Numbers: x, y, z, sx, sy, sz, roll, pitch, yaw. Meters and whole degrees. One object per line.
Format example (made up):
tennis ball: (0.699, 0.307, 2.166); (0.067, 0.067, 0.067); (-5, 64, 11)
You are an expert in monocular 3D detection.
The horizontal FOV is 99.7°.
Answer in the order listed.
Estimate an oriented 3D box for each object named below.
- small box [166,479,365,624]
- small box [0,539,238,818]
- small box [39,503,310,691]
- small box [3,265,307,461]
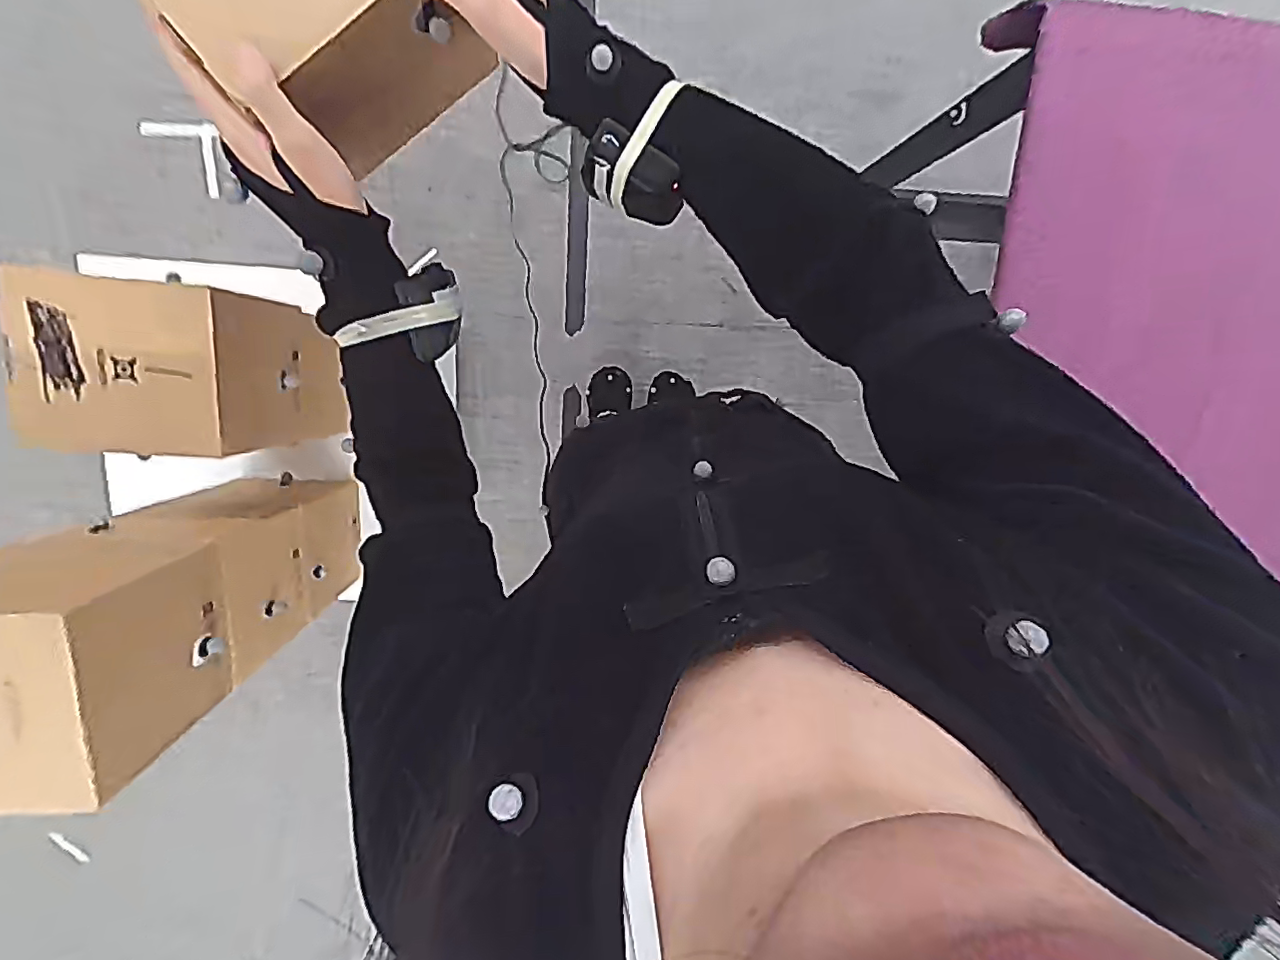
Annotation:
small box: (-0.525, 0.094, 0.783); (0.179, 0.176, 0.168); (2, 100, -5)
small box: (-0.495, 0.154, 0.464); (0.179, 0.176, 0.168); (0, 102, -6)
small box: (-0.508, 0.124, 0.624); (0.179, 0.176, 0.168); (1, 101, -5)
small box: (-0.488, -0.119, 0.575); (0.179, 0.176, 0.168); (4, 101, -7)
